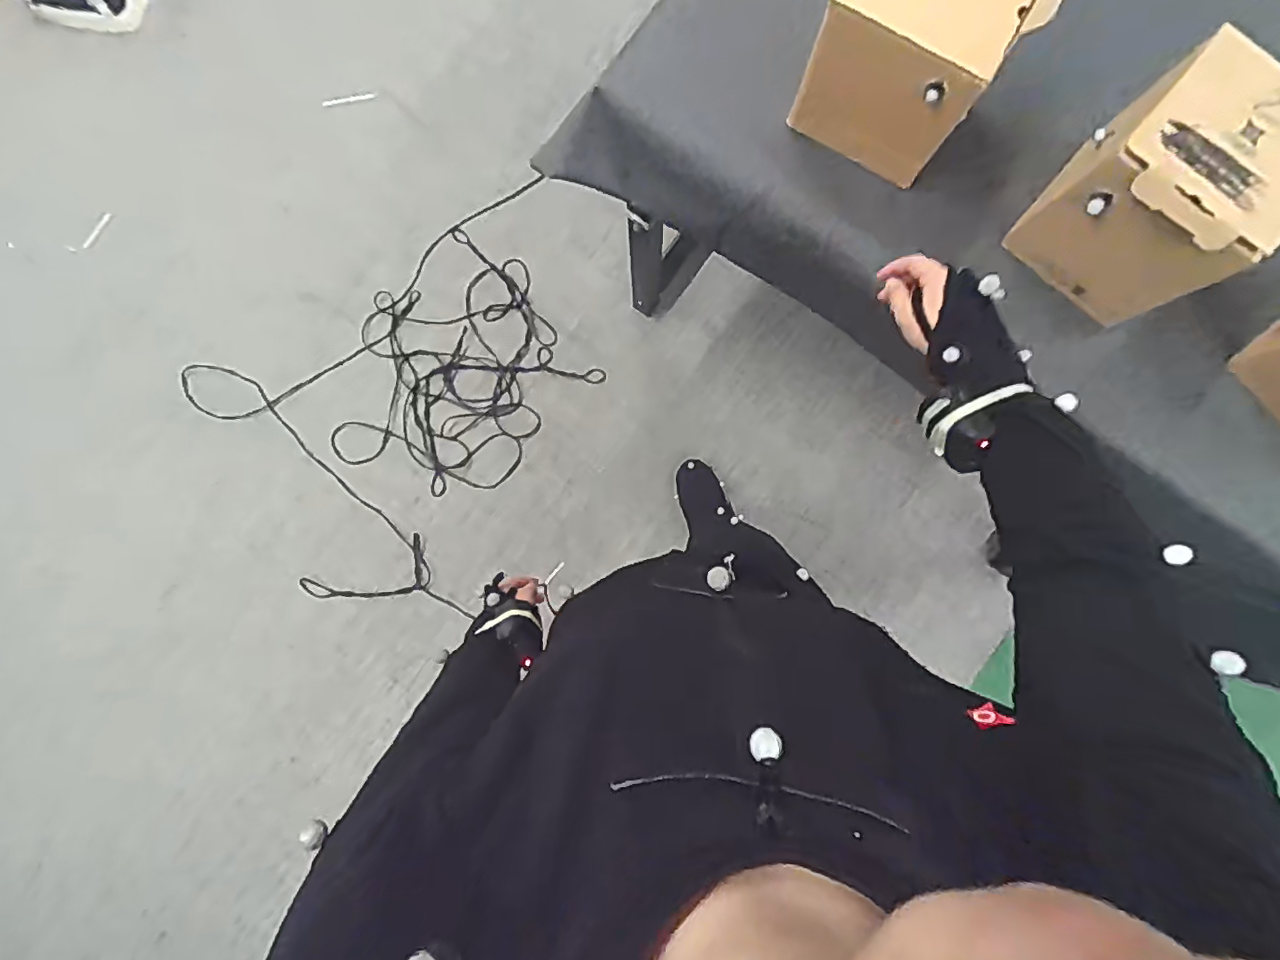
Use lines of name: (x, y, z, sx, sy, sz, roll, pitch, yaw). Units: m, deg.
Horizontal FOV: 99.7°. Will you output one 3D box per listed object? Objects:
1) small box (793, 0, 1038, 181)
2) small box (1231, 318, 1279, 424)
small box: (0.298, -0.479, 0.604, 0.179, 0.176, 0.168, 29, 86, 1)
small box: (0.827, -0.130, 0.576, 0.168, 0.176, 0.179, -38, 85, -3)
